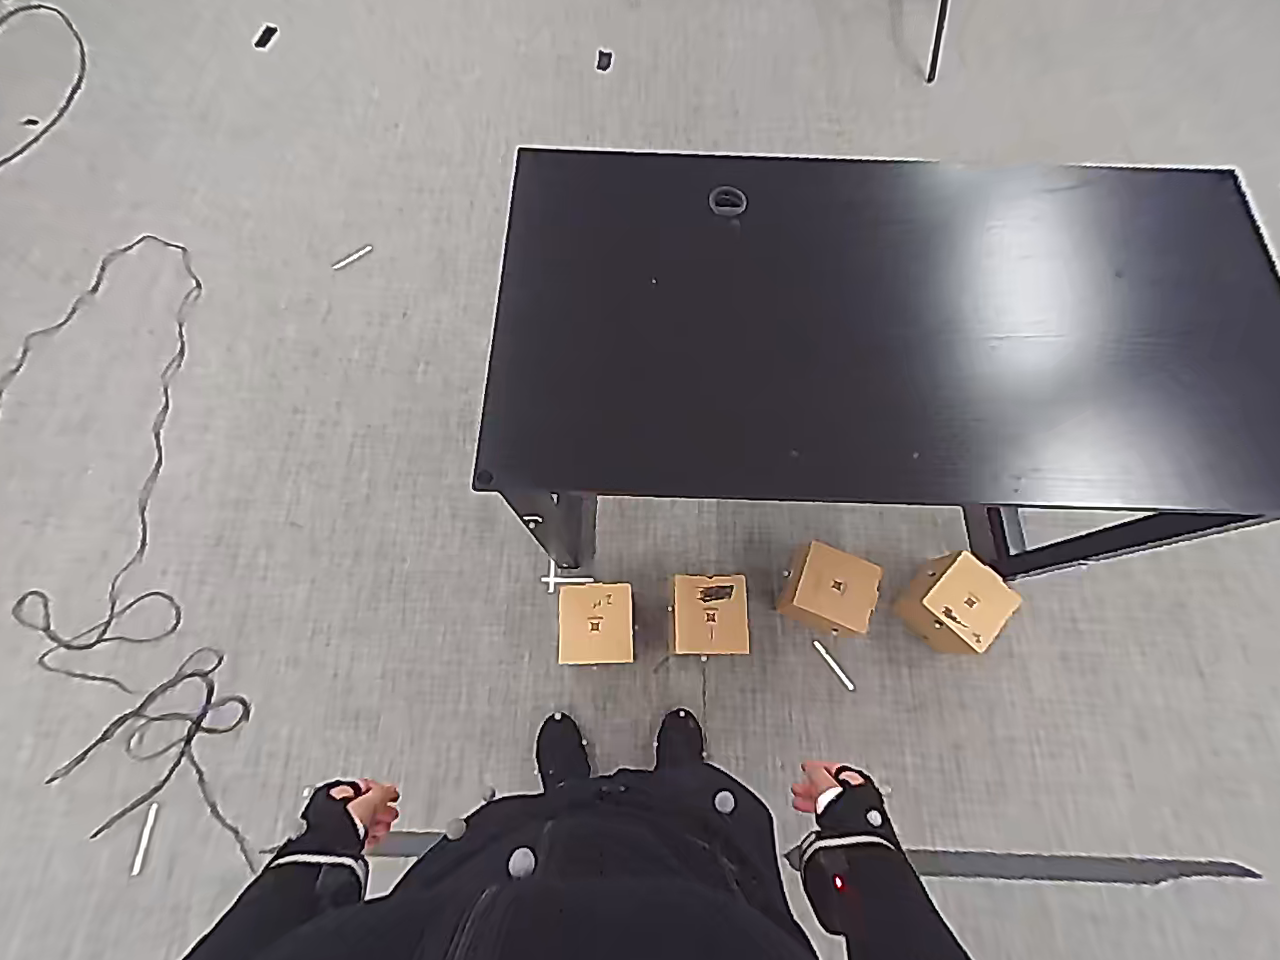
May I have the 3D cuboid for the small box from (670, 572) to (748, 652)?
[{"bbox_3d":[0.160,0.322,1.302,0.168,0.176,0.179,0,73,0],"label":"small box"}]

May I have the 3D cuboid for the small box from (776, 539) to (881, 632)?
[{"bbox_3d":[0.455,0.265,1.324,0.179,0.176,0.168,21,72,7],"label":"small box"}]

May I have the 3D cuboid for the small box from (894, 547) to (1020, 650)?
[{"bbox_3d":[0.757,0.291,1.314,0.168,0.176,0.179,43,76,13],"label":"small box"}]
